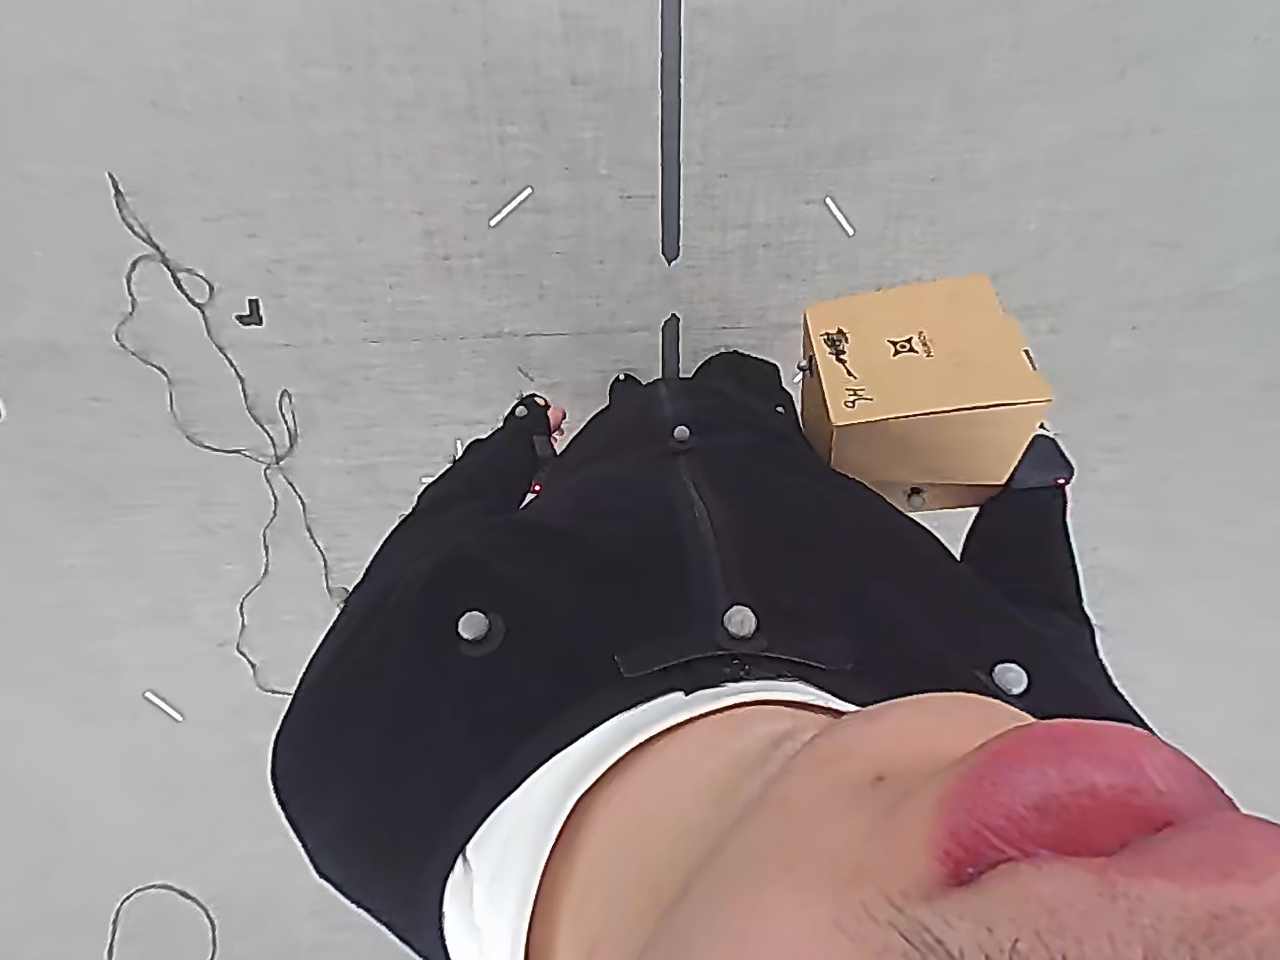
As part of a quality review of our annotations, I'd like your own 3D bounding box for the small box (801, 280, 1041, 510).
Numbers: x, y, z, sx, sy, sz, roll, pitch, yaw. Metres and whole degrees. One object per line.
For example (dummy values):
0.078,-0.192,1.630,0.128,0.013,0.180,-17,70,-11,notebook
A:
0.277,-0.083,0.584,0.179,0.168,0.176,-6,144,11,small box
